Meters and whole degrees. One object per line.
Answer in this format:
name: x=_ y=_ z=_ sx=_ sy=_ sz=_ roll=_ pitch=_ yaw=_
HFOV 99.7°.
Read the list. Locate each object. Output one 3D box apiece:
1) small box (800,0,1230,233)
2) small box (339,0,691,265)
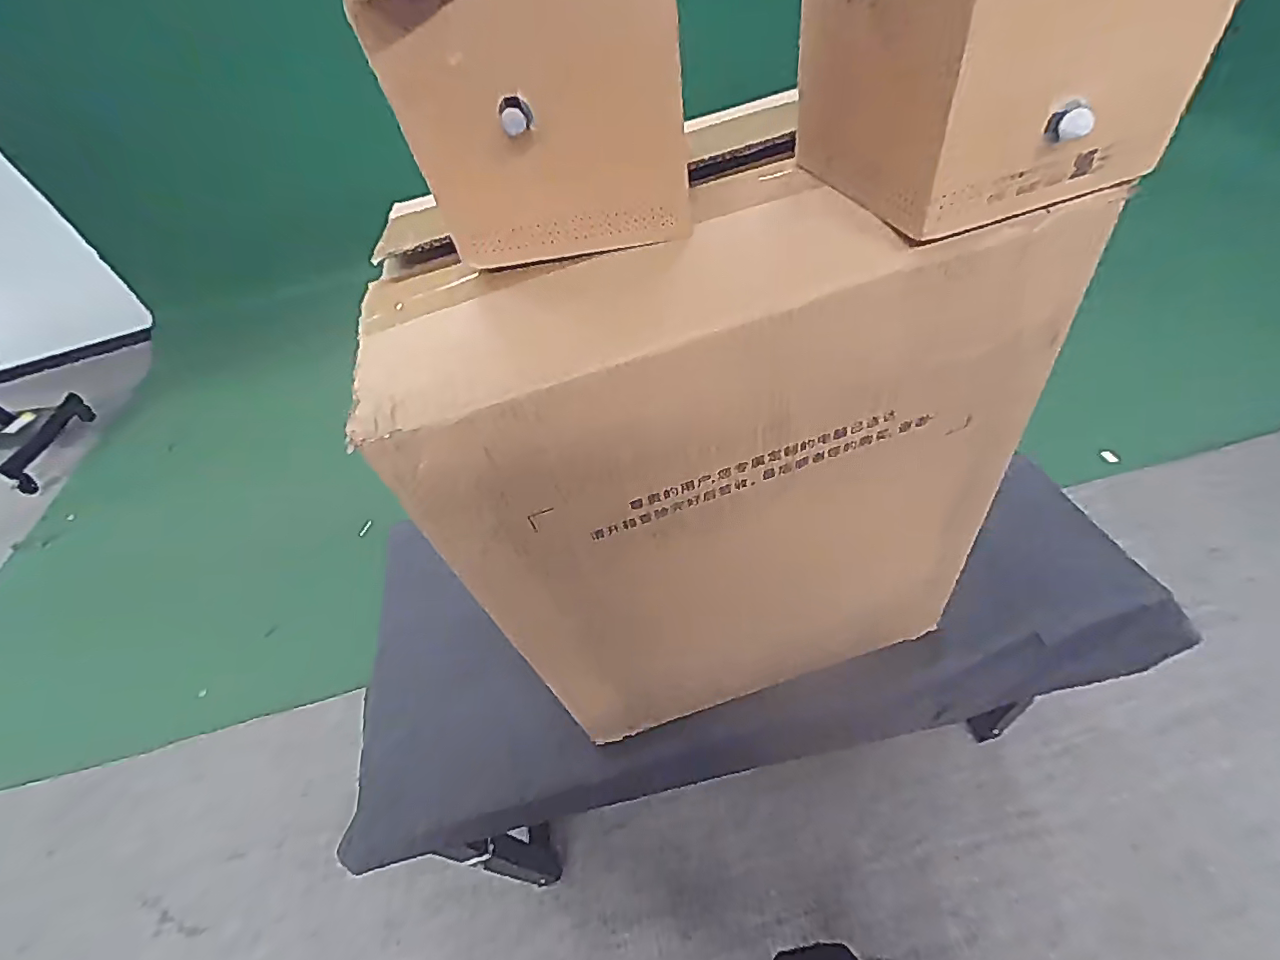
small box: x=0.213 y=-0.283 z=0.338 sx=0.168 sy=0.176 sz=0.179 roll=-18 pitch=48 yaw=-3
small box: x=-0.064 y=-0.278 z=0.385 sx=0.179 sy=0.176 sz=0.168 roll=-7 pitch=56 yaw=6
